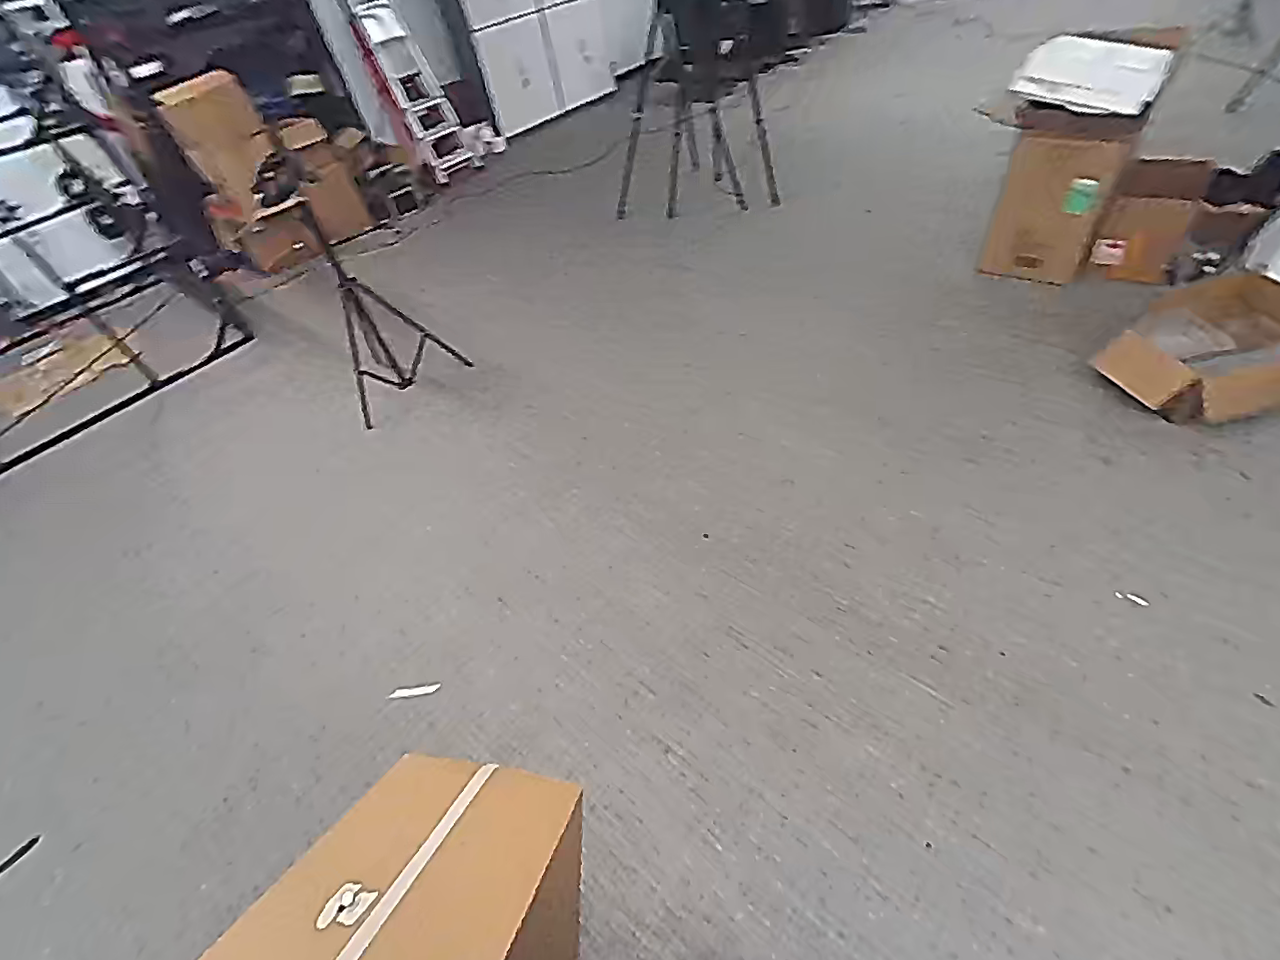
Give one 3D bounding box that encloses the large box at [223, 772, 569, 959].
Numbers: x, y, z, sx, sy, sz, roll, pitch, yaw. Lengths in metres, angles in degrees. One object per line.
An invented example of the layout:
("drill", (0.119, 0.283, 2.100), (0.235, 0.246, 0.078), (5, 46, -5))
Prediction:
("large box", (-0.298, 0.671, 0.707), (0.320, 0.320, 0.408), (3, 8, 10))
